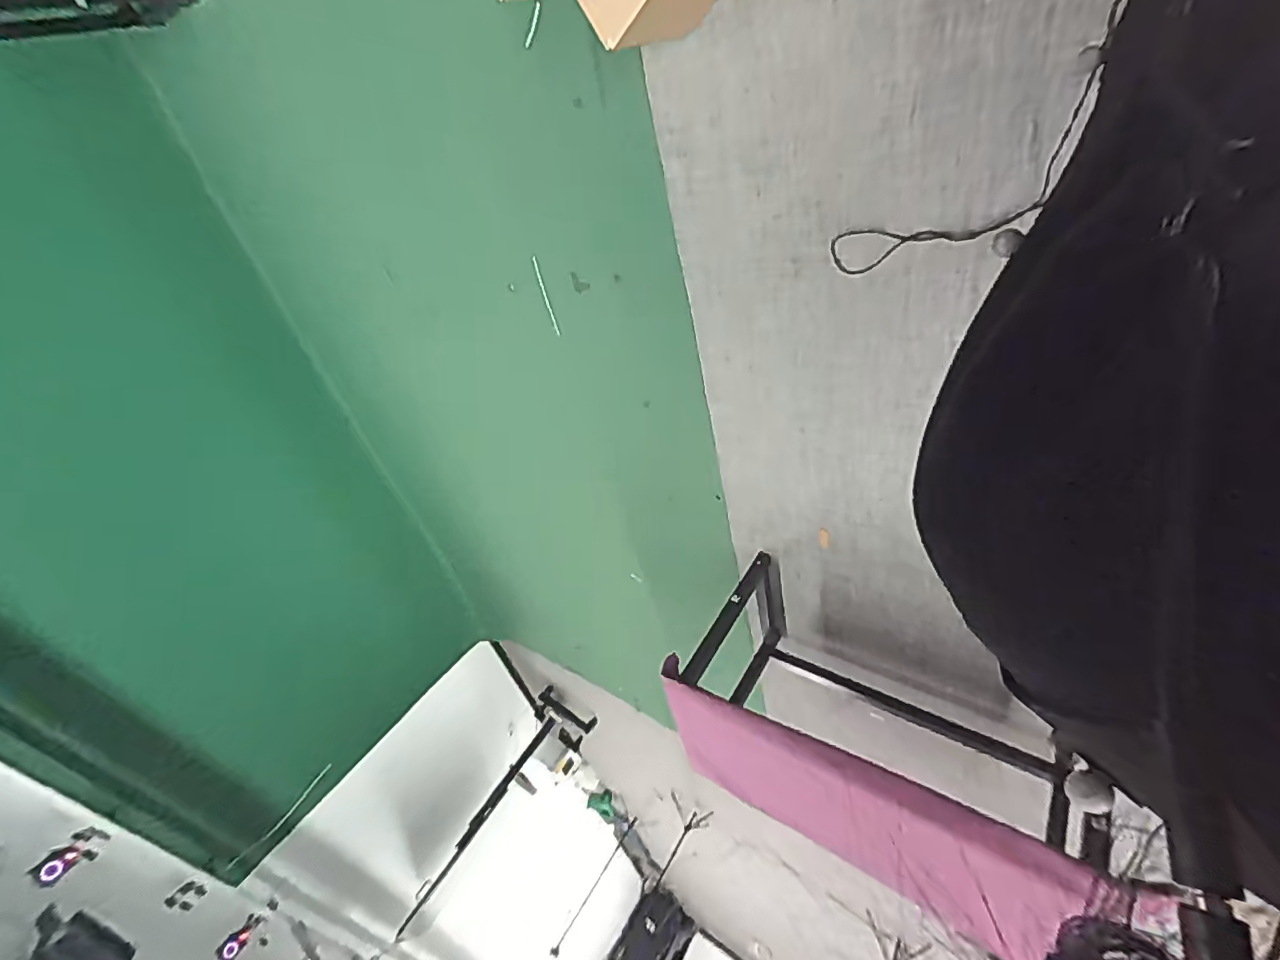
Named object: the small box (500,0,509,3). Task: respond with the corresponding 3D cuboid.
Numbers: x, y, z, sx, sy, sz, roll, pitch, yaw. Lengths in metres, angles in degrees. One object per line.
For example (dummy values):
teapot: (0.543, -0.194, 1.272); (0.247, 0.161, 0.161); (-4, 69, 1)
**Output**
small box: (-0.171, -0.878, 0.814); (0.179, 0.176, 0.168); (52, 145, -14)
